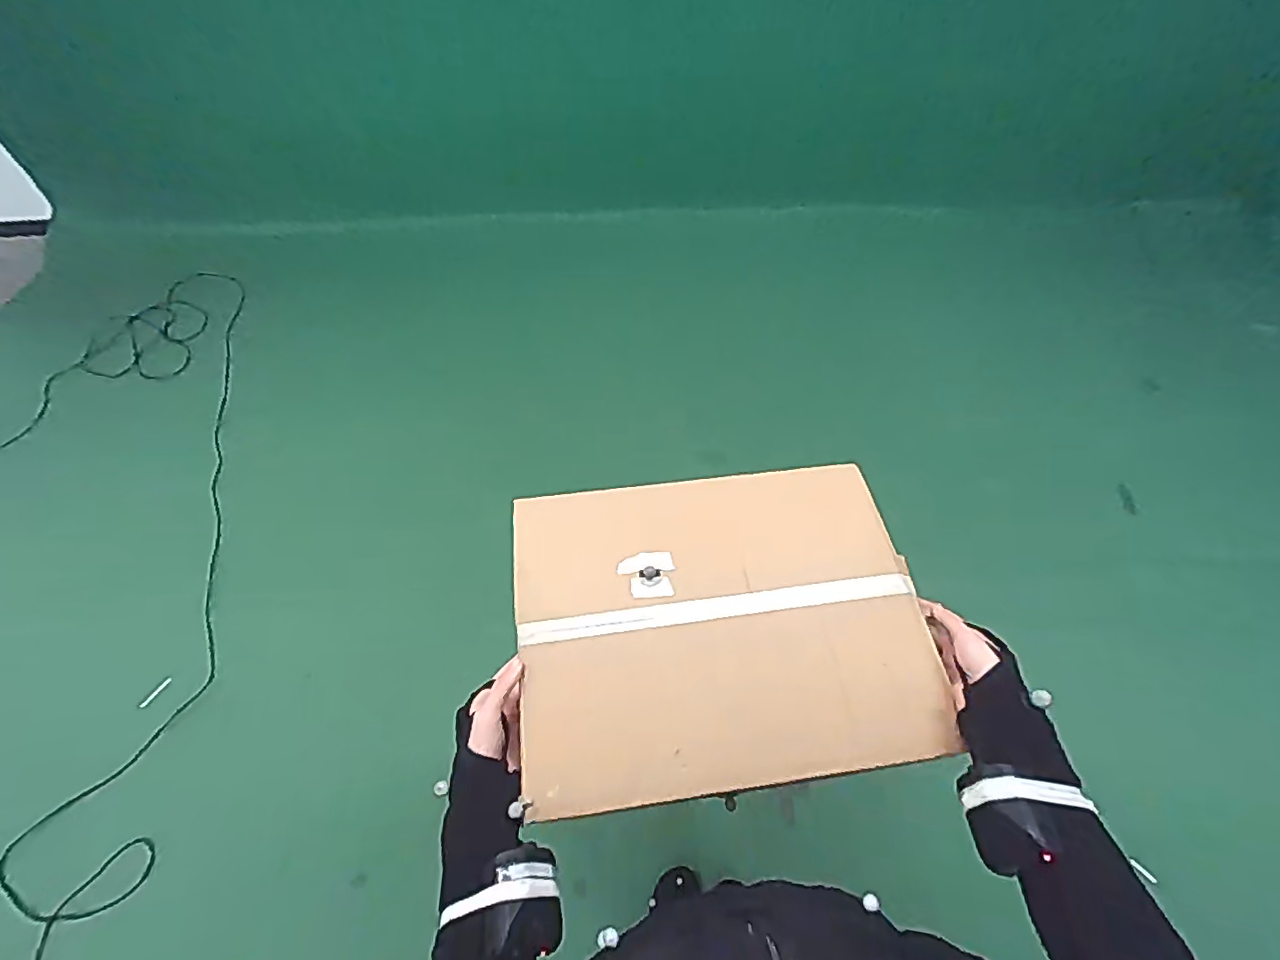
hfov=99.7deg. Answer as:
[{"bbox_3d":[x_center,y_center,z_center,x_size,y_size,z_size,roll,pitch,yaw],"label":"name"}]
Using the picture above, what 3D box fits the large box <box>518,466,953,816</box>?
[{"bbox_3d":[0.078,0.211,0.689,0.408,0.320,0.320,-7,59,-4],"label":"large box"}]
